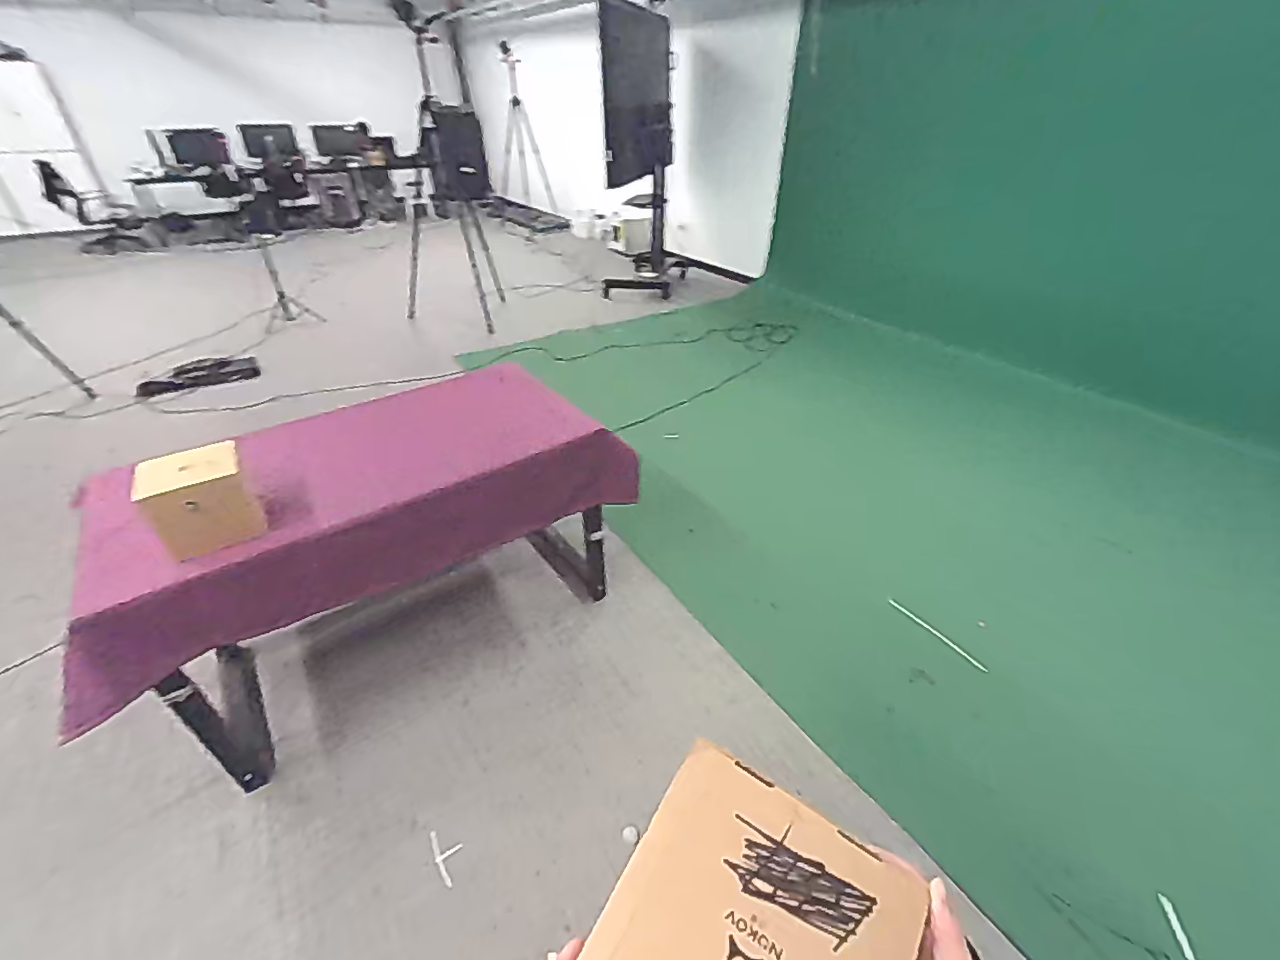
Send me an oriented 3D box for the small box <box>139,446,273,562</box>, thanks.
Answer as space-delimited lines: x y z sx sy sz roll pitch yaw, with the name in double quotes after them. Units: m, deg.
-0.944 0.053 1.188 0.179 0.176 0.168 -21 40 -27 "small box"
